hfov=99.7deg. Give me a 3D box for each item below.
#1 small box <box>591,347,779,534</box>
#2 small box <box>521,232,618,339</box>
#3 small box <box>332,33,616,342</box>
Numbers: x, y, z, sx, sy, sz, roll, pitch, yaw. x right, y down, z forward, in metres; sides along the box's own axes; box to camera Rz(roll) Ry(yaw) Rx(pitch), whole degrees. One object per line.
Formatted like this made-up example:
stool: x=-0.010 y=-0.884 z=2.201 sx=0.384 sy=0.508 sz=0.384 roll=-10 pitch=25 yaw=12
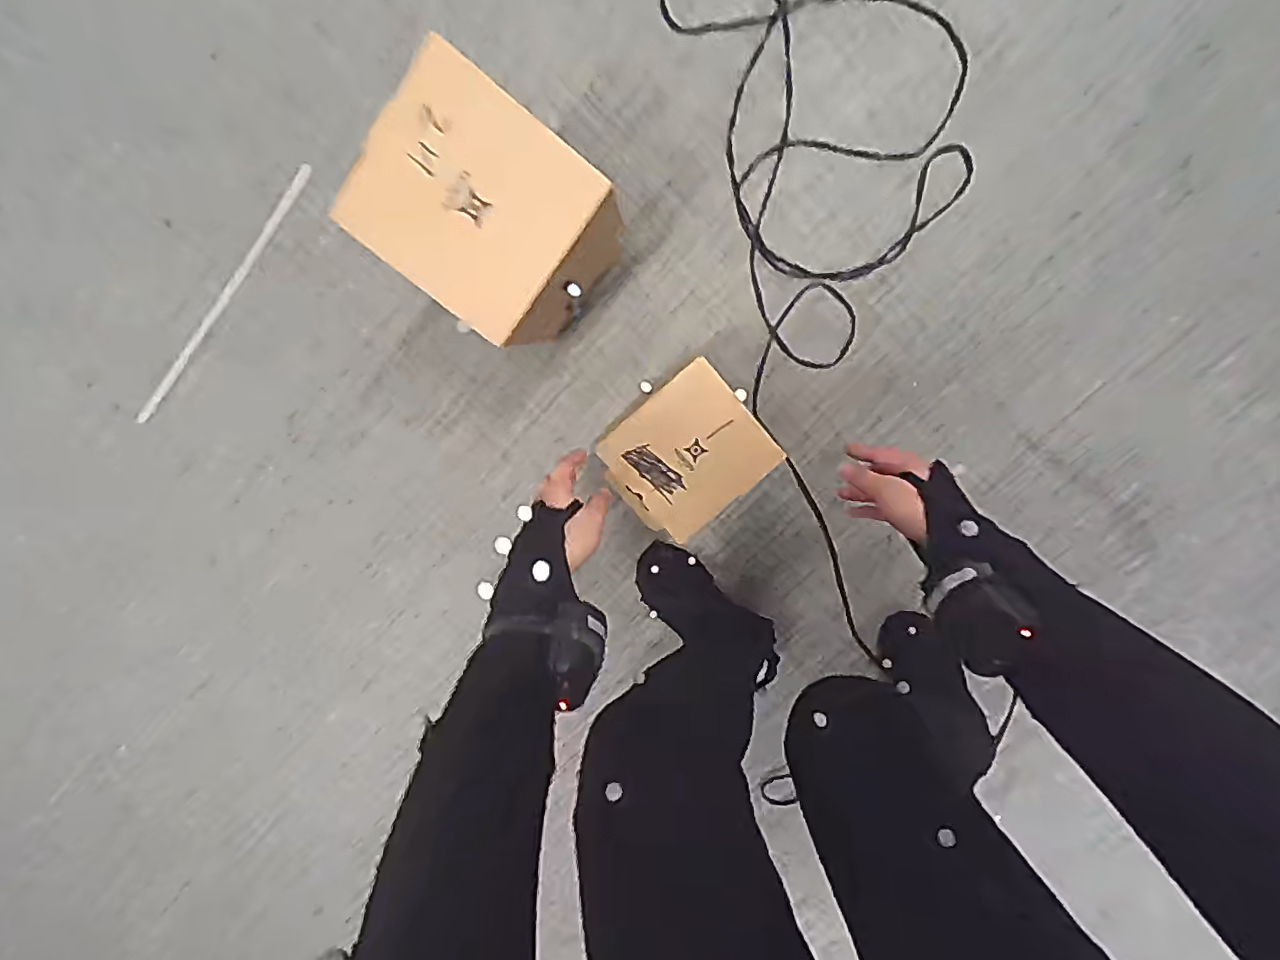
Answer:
small box: x=0.058 y=-0.062 z=0.739 sx=0.179 sy=0.176 sz=0.168 roll=-40 pitch=101 yaw=10
small box: x=-0.143 y=-0.300 z=0.680 sx=0.179 sy=0.176 sz=0.168 roll=39 pitch=103 yaw=-8
small box: x=-0.138 y=-0.255 z=0.521 sx=0.179 sy=0.176 sz=0.168 roll=38 pitch=103 yaw=-8
